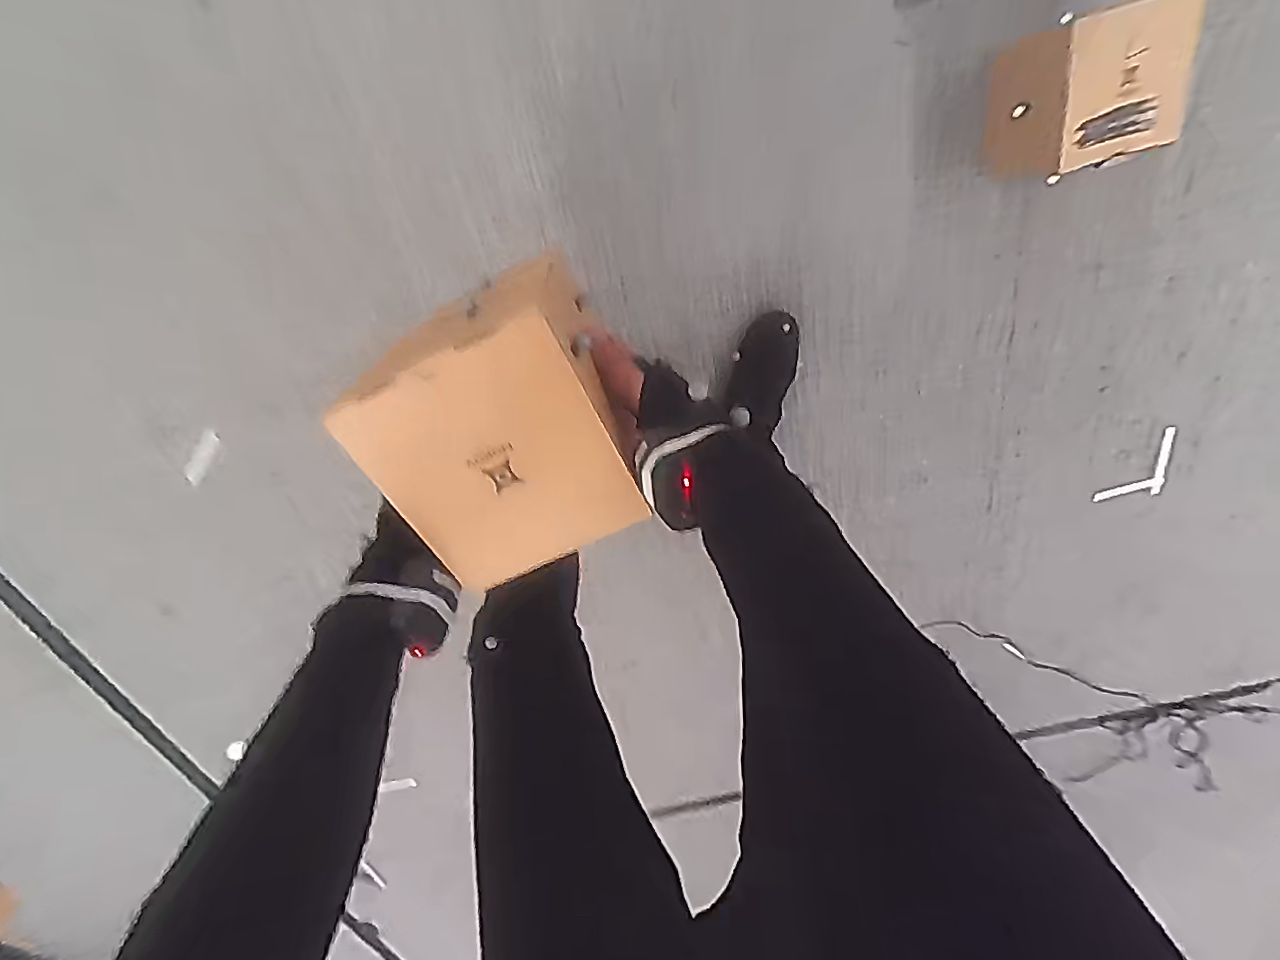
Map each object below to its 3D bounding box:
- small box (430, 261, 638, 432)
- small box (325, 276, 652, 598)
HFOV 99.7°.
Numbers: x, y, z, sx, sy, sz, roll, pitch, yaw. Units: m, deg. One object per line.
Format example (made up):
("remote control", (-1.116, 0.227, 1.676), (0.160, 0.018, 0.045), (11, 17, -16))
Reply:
("small box", (-0.118, -0.120, 0.589), (0.168, 0.176, 0.179), (-25, 120, 9))
("small box", (-0.102, -0.043, 0.446), (0.168, 0.176, 0.179), (-24, 119, 8))
